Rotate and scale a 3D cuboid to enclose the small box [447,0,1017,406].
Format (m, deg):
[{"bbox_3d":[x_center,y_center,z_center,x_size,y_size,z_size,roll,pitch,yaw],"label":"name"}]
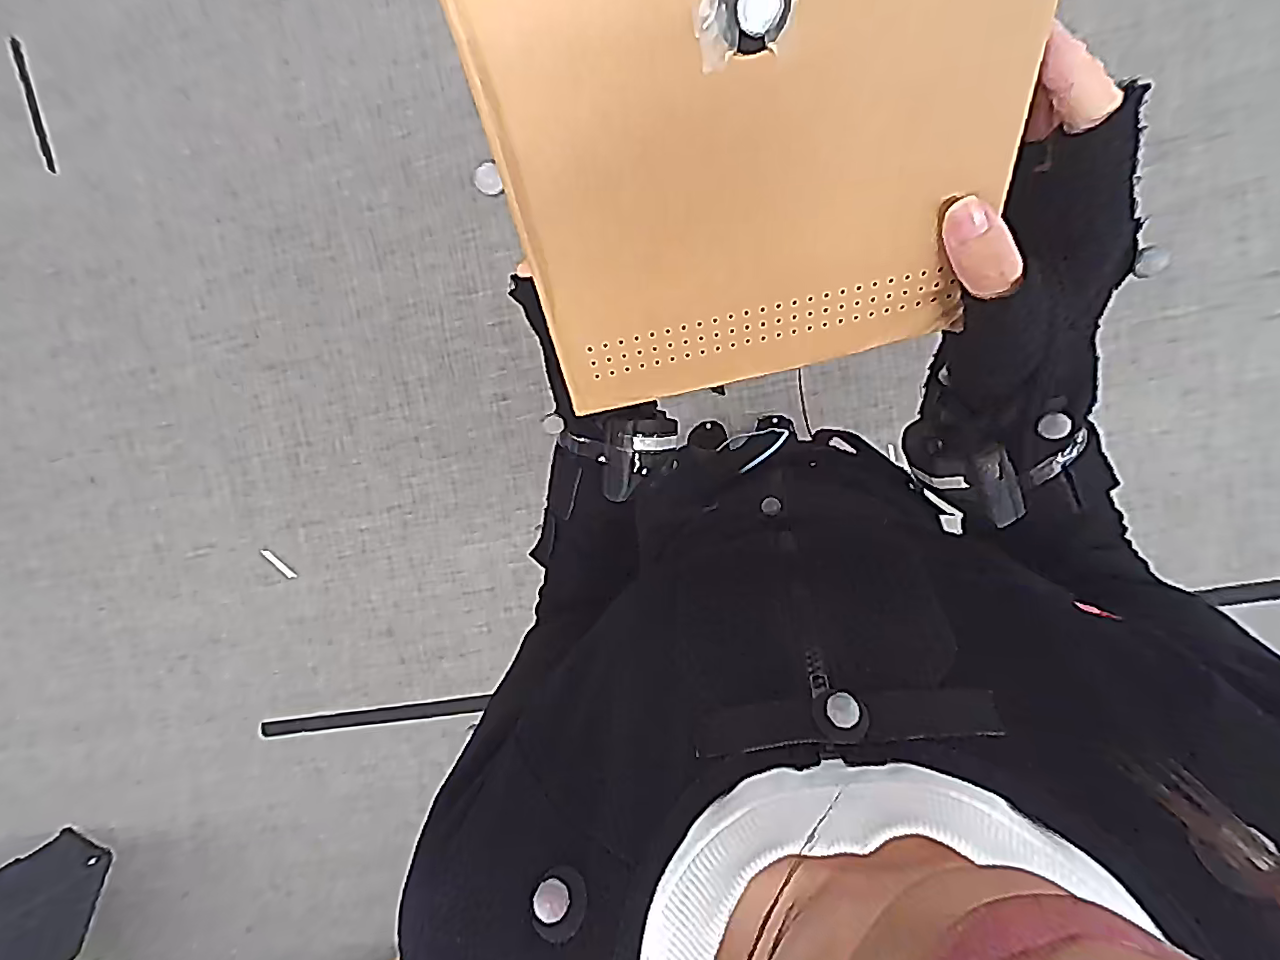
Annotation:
[{"bbox_3d":[0.035,-0.153,0.243,0.179,0.168,0.176,-12,134,2],"label":"small box"}]
